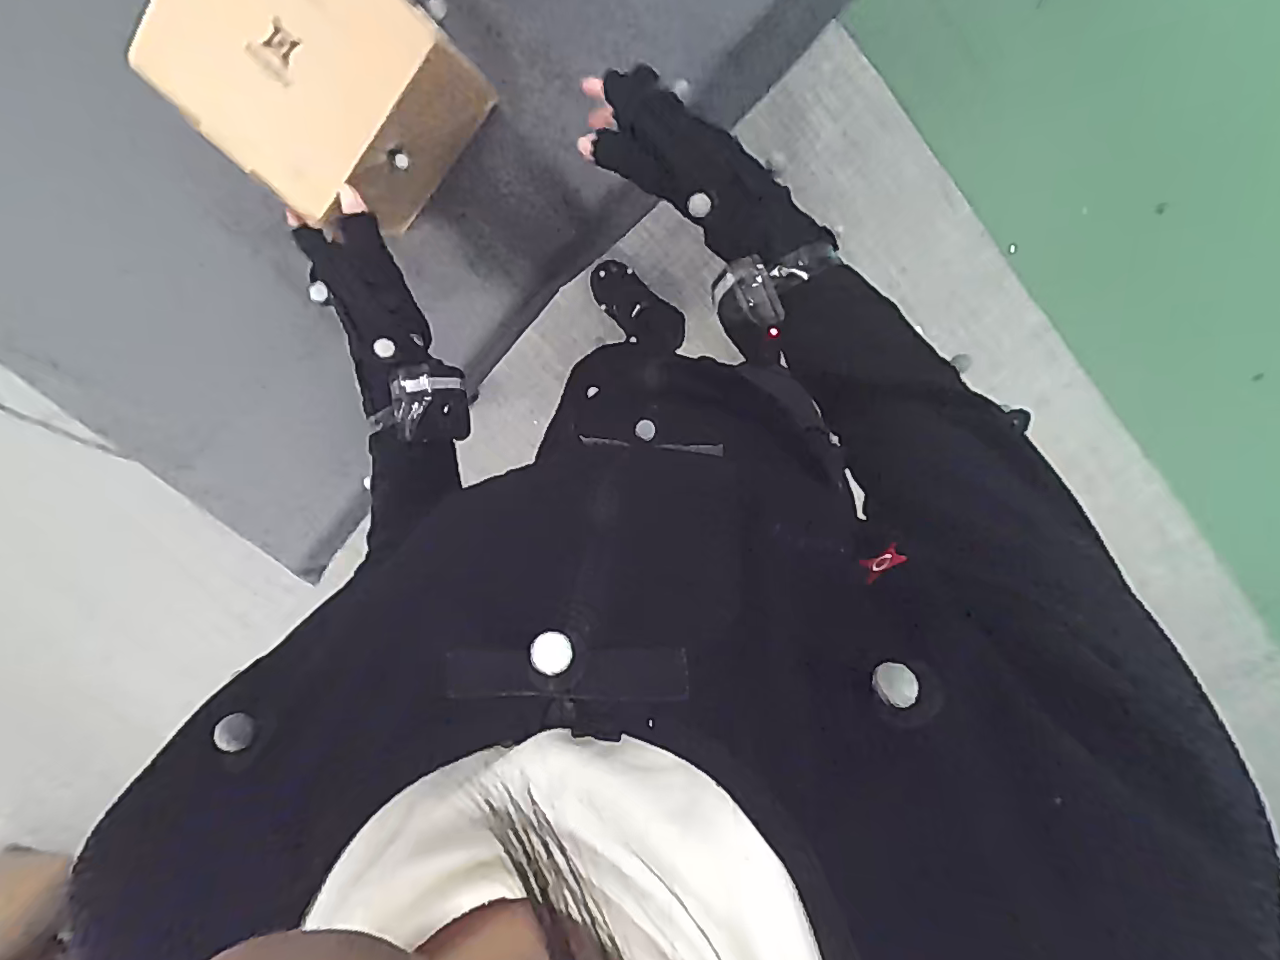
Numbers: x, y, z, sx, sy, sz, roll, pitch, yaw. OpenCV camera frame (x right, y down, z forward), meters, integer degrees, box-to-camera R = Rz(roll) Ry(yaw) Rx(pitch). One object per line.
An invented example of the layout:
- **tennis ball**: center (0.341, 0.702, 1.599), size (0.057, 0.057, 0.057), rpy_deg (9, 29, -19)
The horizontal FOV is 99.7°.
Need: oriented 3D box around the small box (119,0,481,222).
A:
- **small box**: center (-0.264, -0.347, 0.463), size (0.168, 0.176, 0.179), rpy_deg (41, 109, -15)
